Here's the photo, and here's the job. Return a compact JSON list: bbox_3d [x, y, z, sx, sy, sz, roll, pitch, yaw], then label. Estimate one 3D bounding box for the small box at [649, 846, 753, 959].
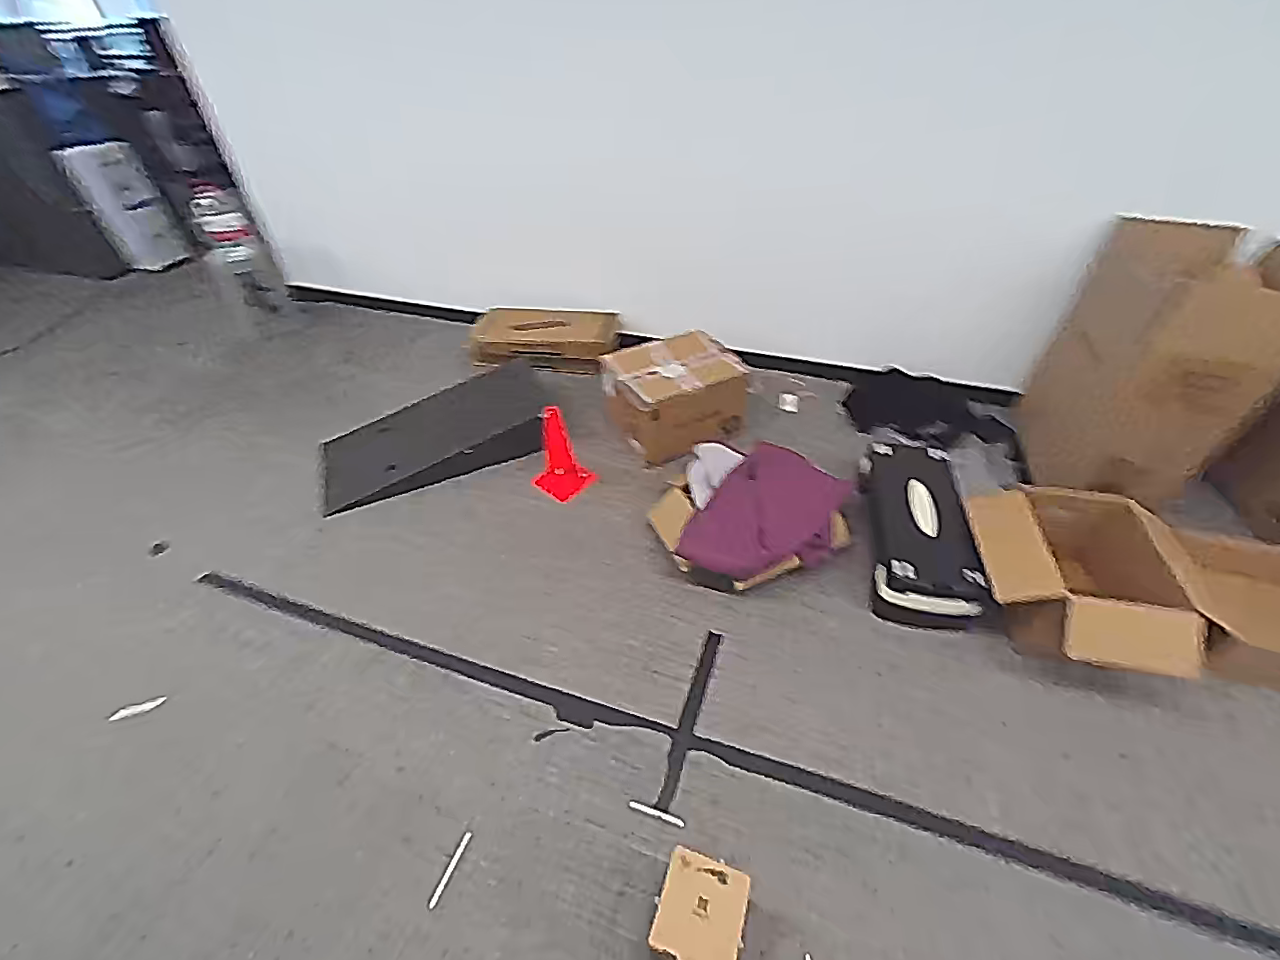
[{"bbox_3d":[0.127,0.904,1.116,0.168,0.176,0.179,14,47,17],"label":"small box"}]
